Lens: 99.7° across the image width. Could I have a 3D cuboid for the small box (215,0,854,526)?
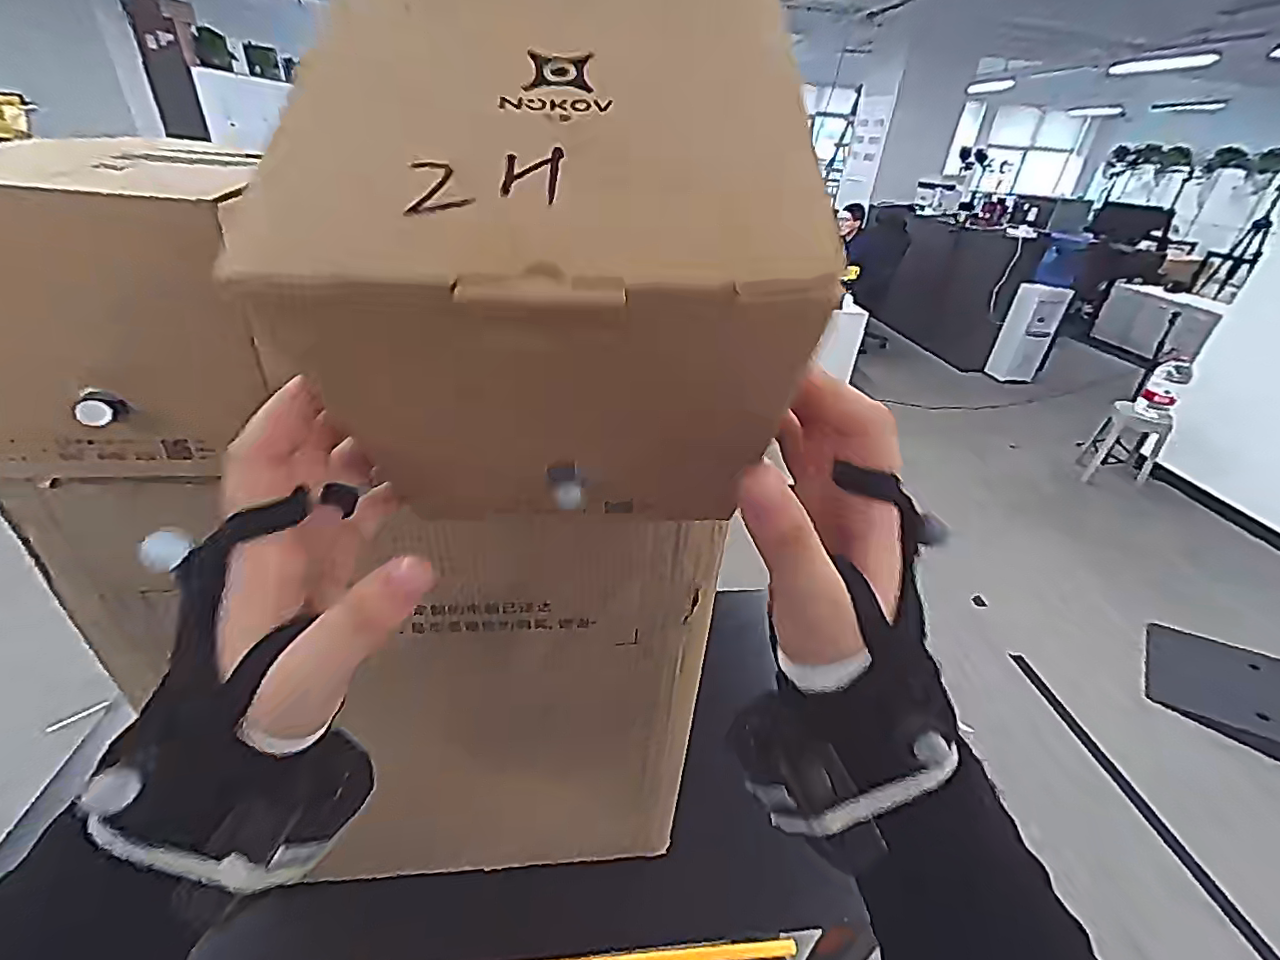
[{"bbox_3d":[-0.029,-0.090,0.244,0.168,0.176,0.179,0,67,-2],"label":"small box"}]
